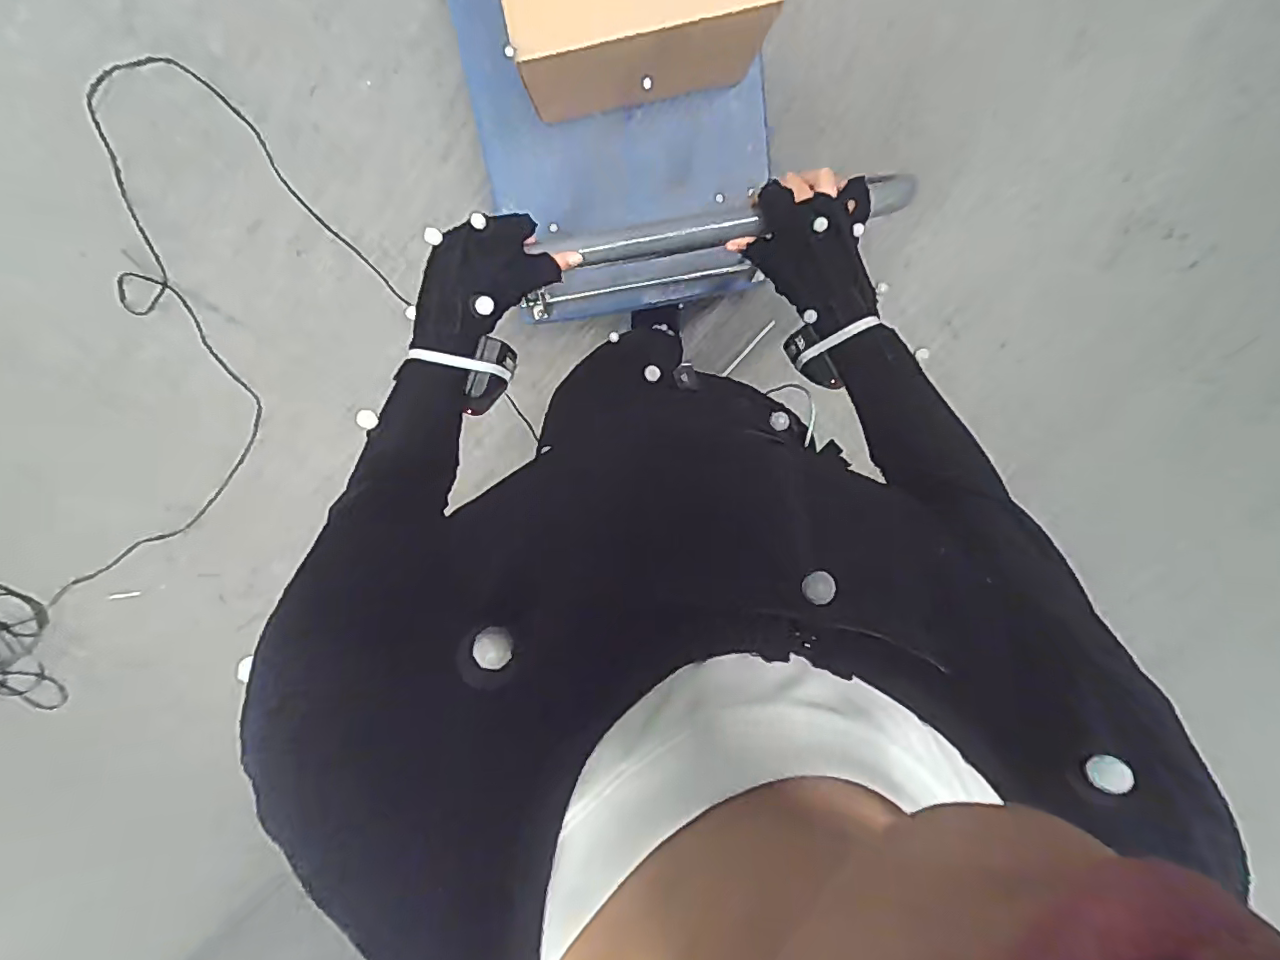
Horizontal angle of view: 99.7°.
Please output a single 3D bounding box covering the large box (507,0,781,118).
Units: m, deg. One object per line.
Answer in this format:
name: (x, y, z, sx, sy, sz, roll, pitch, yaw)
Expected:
large box: (-0.015, -0.850, 0.882, 0.408, 0.320, 0.320, -12, 108, 2)
